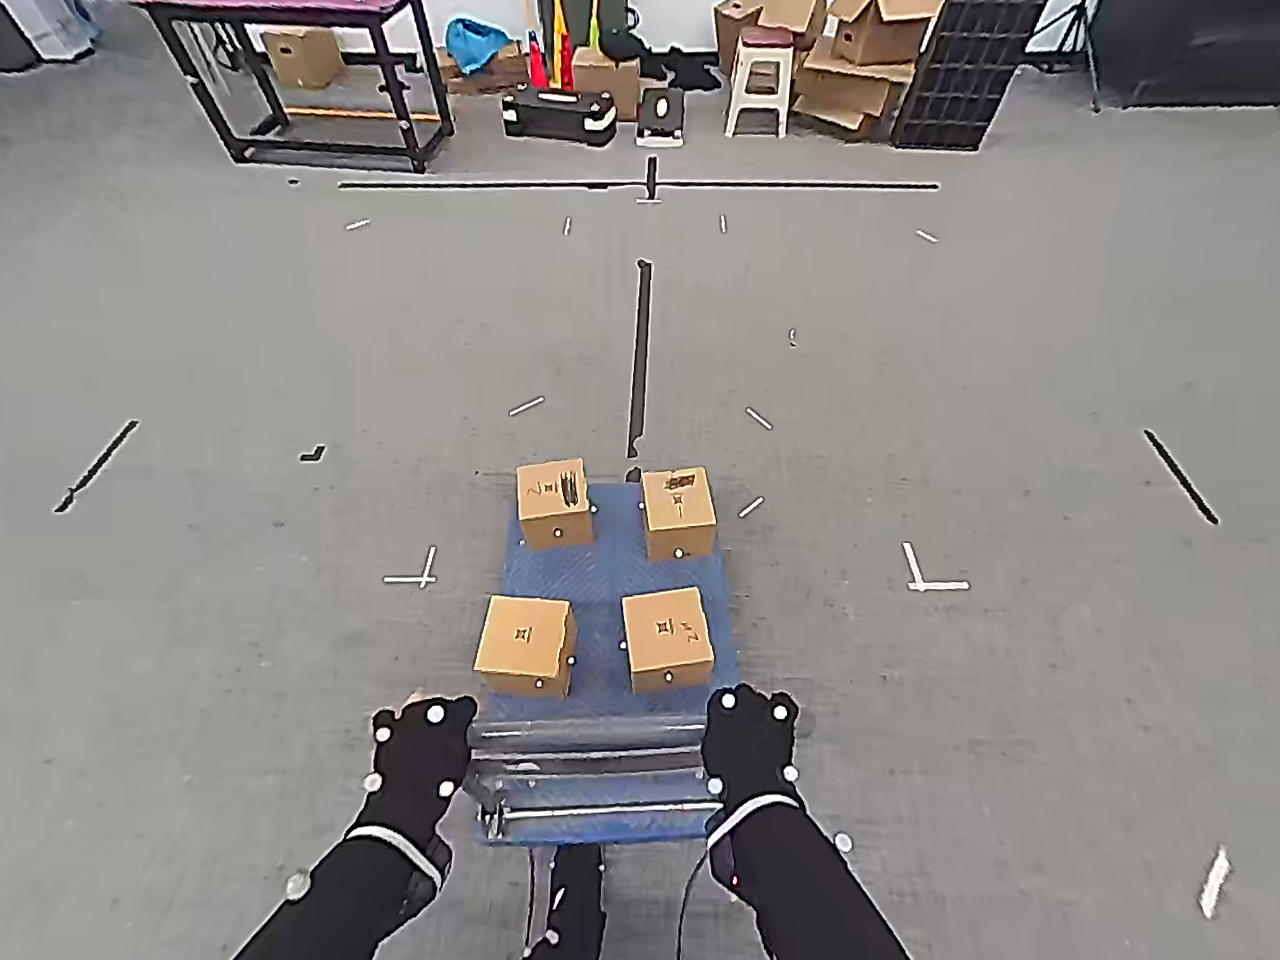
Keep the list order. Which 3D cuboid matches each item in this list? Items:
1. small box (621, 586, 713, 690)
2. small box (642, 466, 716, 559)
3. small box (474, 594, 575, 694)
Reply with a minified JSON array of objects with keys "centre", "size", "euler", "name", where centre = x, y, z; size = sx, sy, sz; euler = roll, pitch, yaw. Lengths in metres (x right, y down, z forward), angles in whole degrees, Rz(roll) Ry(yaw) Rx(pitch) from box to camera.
[{"centre":[0.057,0.358,1.214],"size":[0.179,0.176,0.168],"euler":[-7,54,-4],"name":"small box"},{"centre":[0.095,0.087,1.412],"size":[0.168,0.176,0.179],"euler":[-5,55,-3],"name":"small box"},{"centre":[-0.248,0.370,1.210],"size":[0.179,0.176,0.168],"euler":[3,54,2],"name":"small box"}]
